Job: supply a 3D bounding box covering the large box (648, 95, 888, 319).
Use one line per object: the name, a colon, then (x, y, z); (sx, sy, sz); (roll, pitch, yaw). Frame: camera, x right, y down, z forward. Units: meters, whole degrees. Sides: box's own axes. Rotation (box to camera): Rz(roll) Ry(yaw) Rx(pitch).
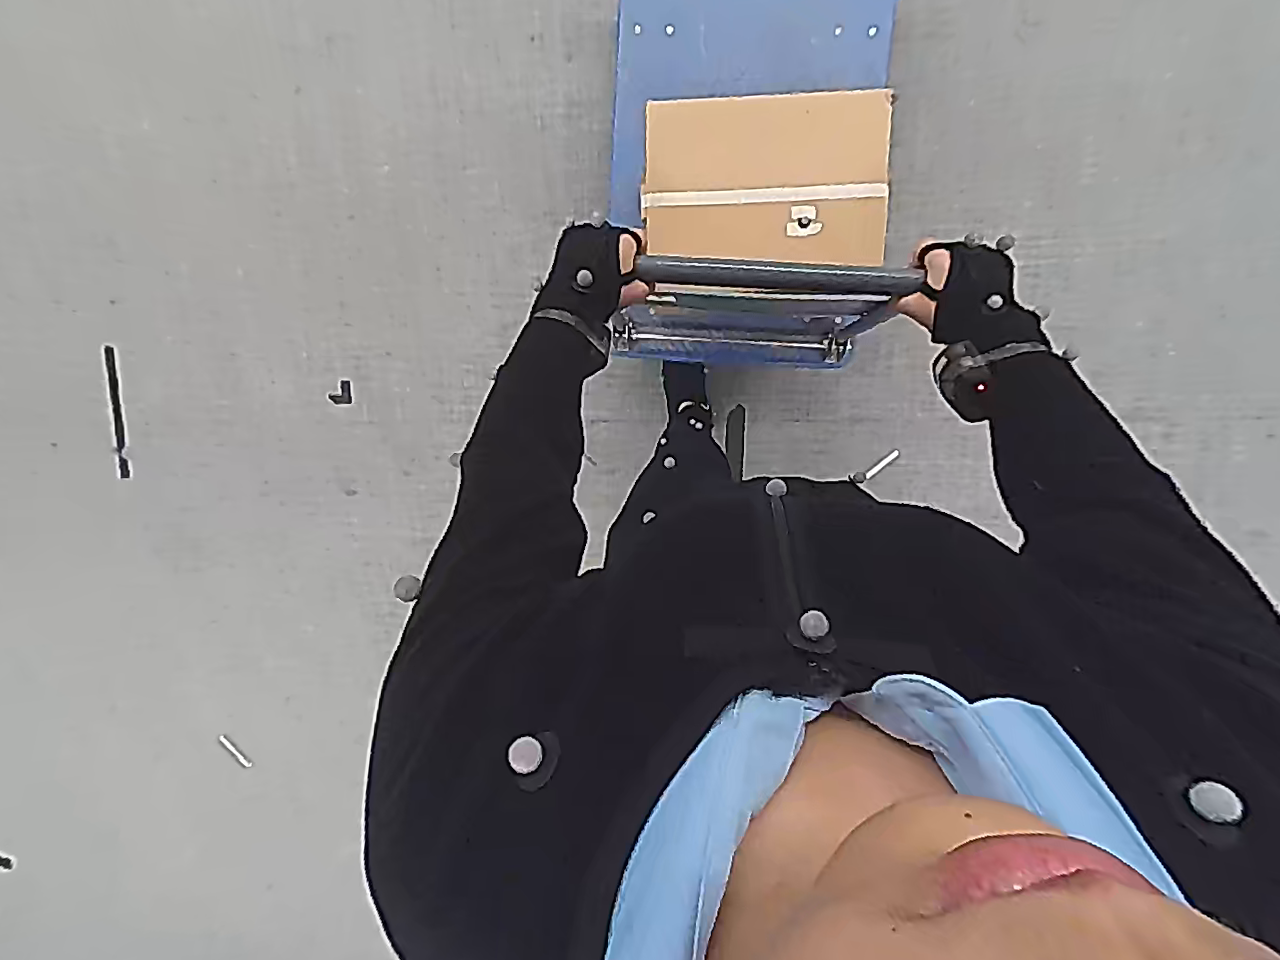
large box: (0.224, -0.505, 1.075); (0.408, 0.320, 0.320); (0, 100, 4)
